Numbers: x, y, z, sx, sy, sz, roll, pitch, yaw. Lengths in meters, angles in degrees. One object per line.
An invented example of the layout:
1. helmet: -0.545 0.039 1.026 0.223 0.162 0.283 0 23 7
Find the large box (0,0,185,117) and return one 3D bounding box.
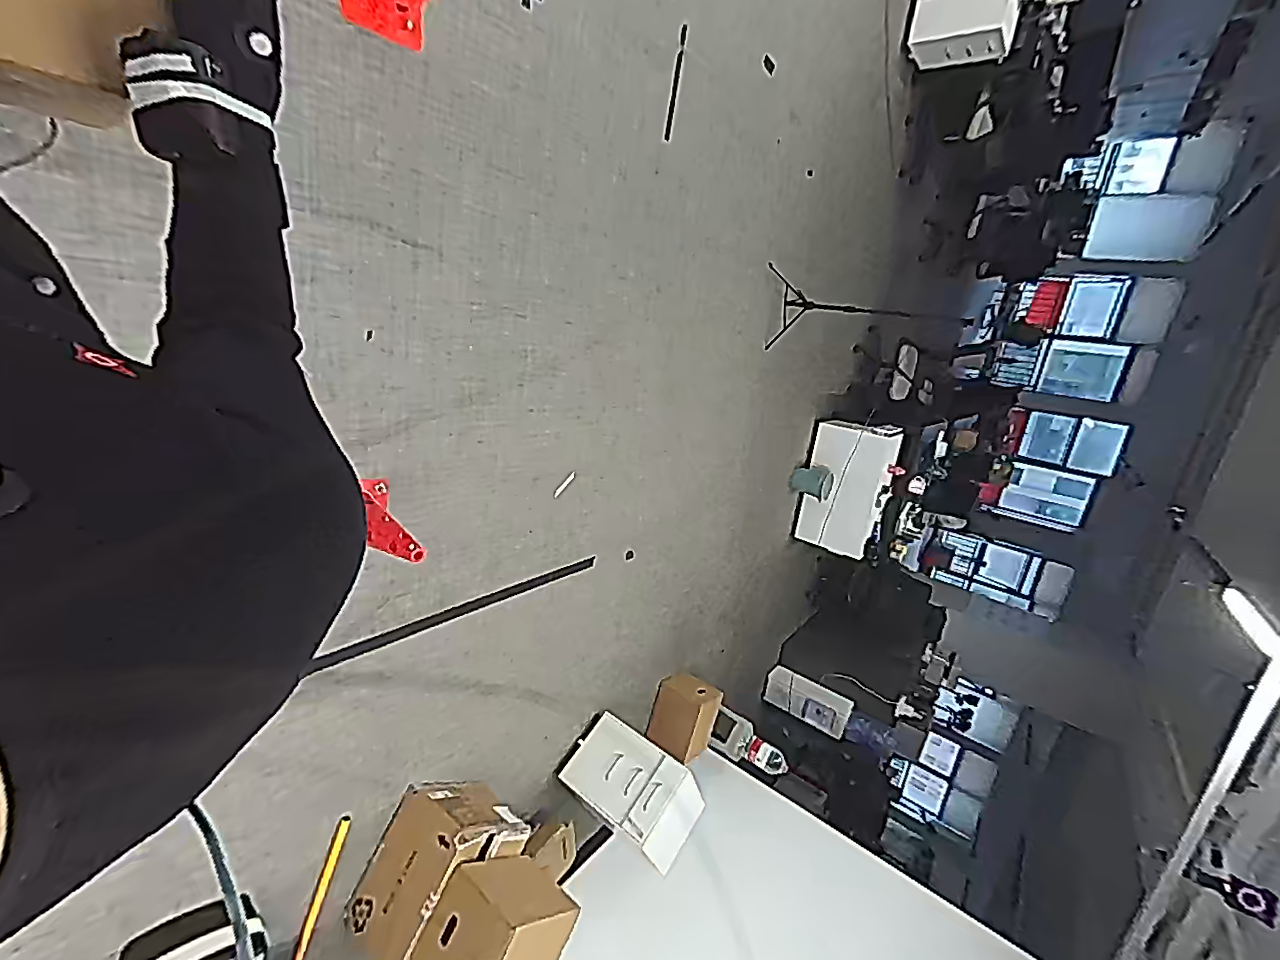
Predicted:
1. large box: -0.544 -0.438 0.278 0.408 0.320 0.320 -12 119 -51

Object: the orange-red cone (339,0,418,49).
1. orange-red cone: -0.470 -1.107 1.159 0.198 0.360 0.199 -16 117 -51

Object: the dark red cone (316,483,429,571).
1. dark red cone: -0.678 0.147 1.432 0.201 0.394 0.202 -2 107 -53
